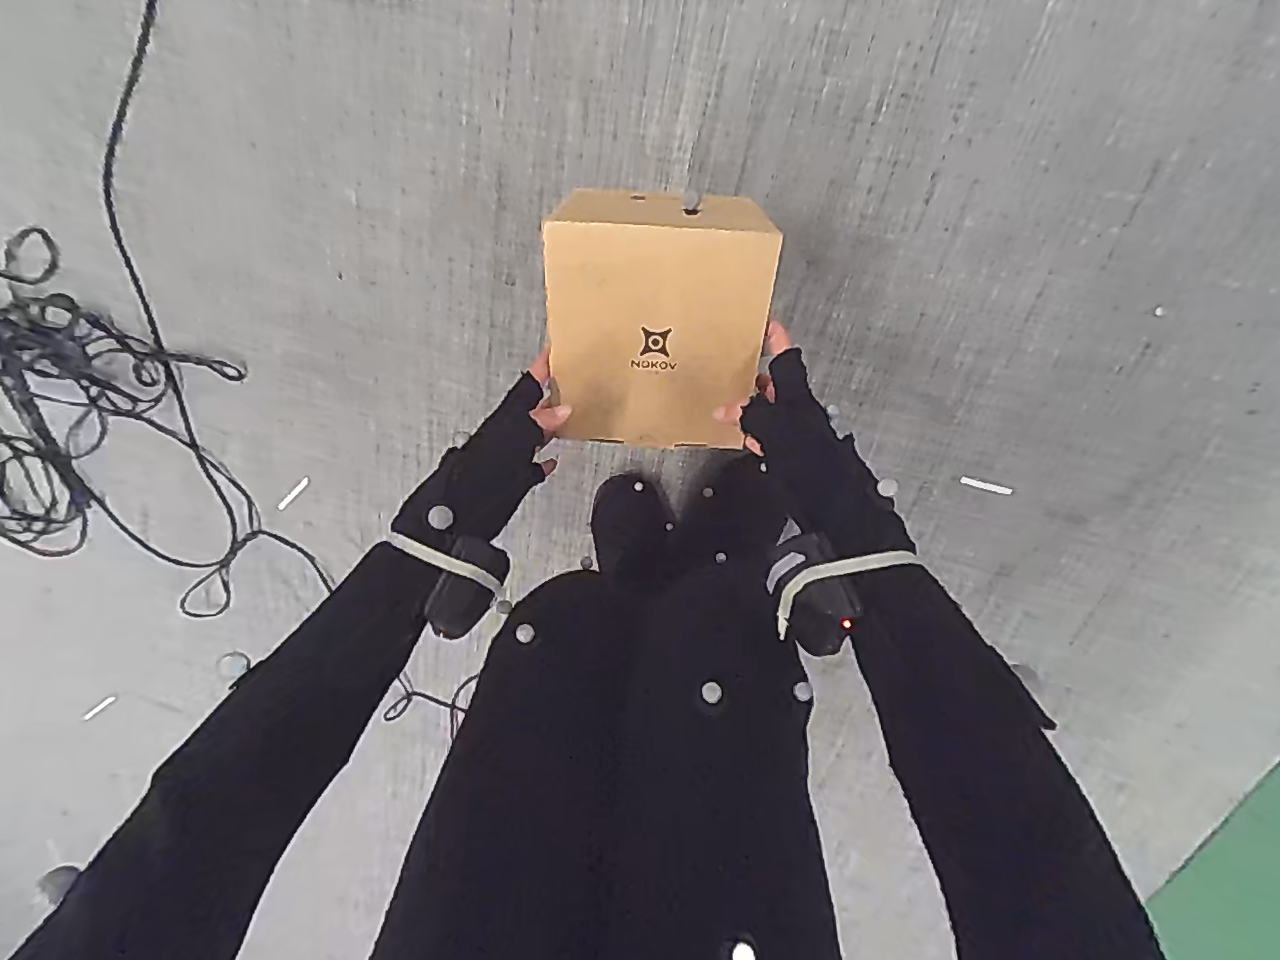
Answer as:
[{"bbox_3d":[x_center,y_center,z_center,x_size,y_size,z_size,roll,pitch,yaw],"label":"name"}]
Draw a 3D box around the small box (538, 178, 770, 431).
[{"bbox_3d":[0.007,-0.163,0.486,0.168,0.176,0.179,2,126,0],"label":"small box"}]
